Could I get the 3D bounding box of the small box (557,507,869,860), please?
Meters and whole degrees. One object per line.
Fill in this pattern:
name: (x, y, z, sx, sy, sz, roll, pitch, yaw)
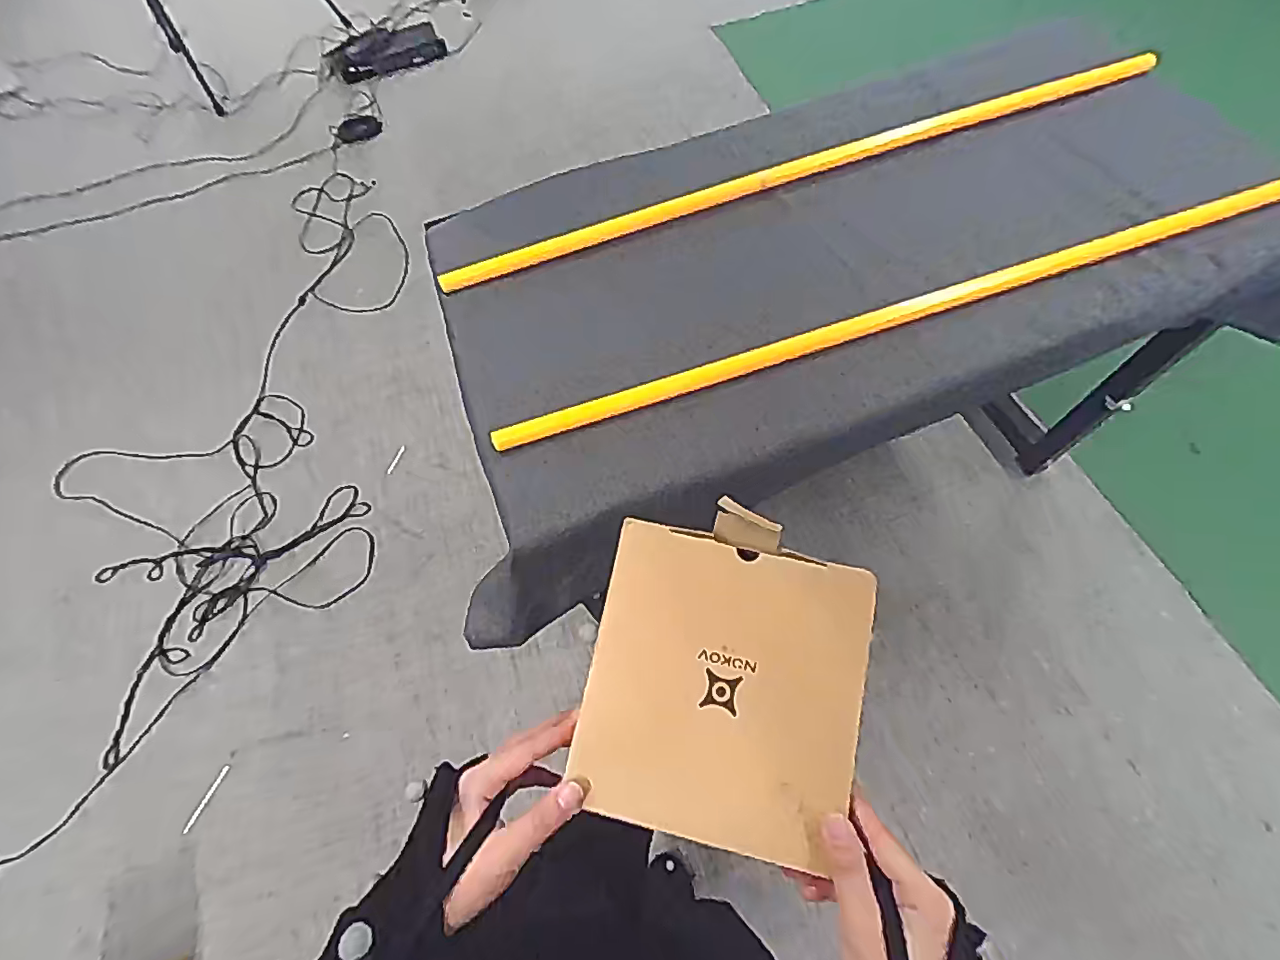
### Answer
small box: (0.053, 0.136, 0.408, 0.168, 0.176, 0.179, 11, 75, 7)
